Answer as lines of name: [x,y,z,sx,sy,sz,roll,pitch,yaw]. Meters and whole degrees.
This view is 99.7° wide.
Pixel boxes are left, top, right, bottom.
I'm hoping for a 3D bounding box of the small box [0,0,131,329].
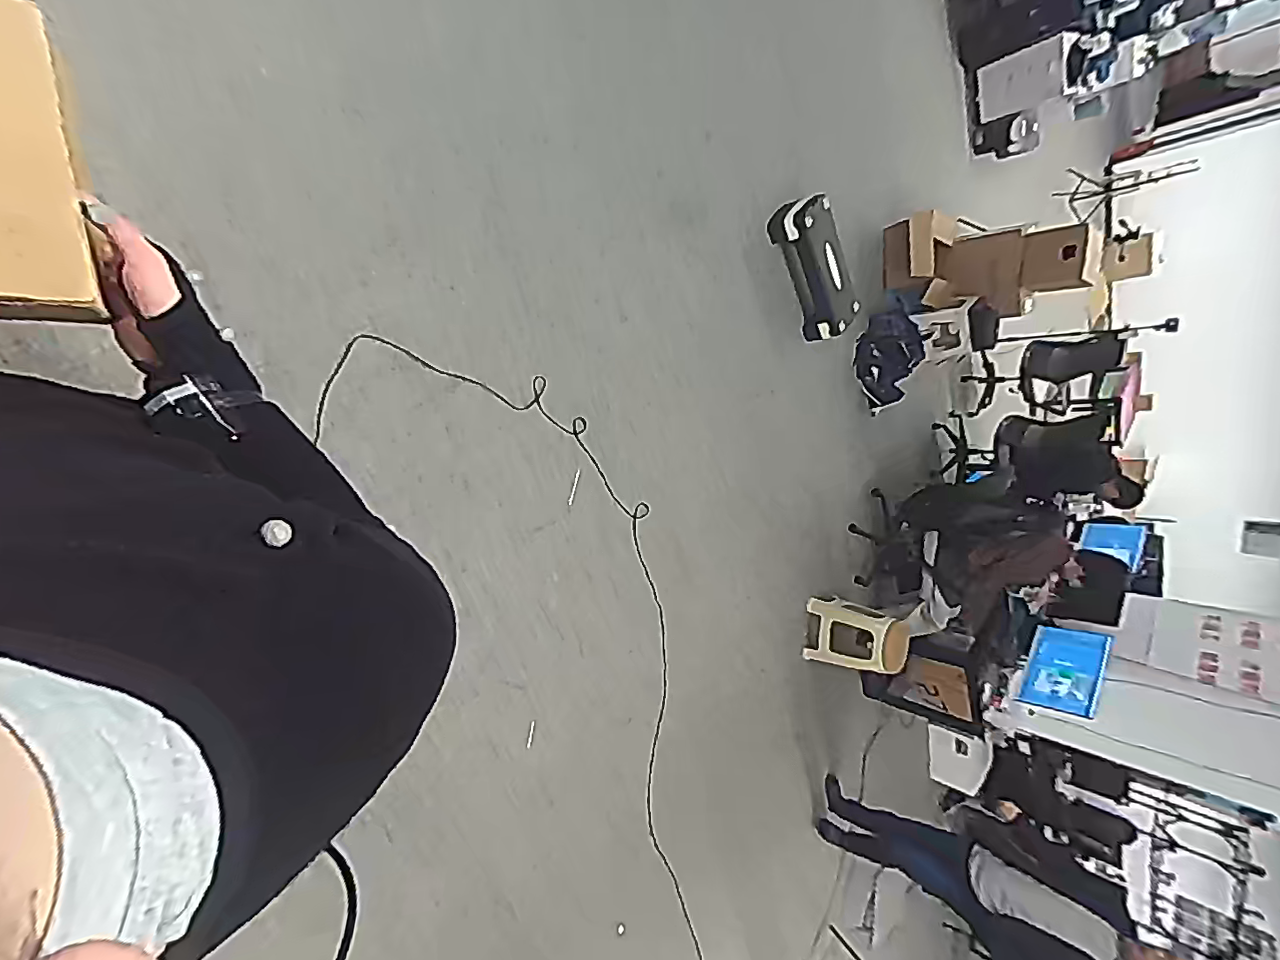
small box: [-0.455,-0.193,0.346,0.168,0.176,0.179,-11,105,-40]
